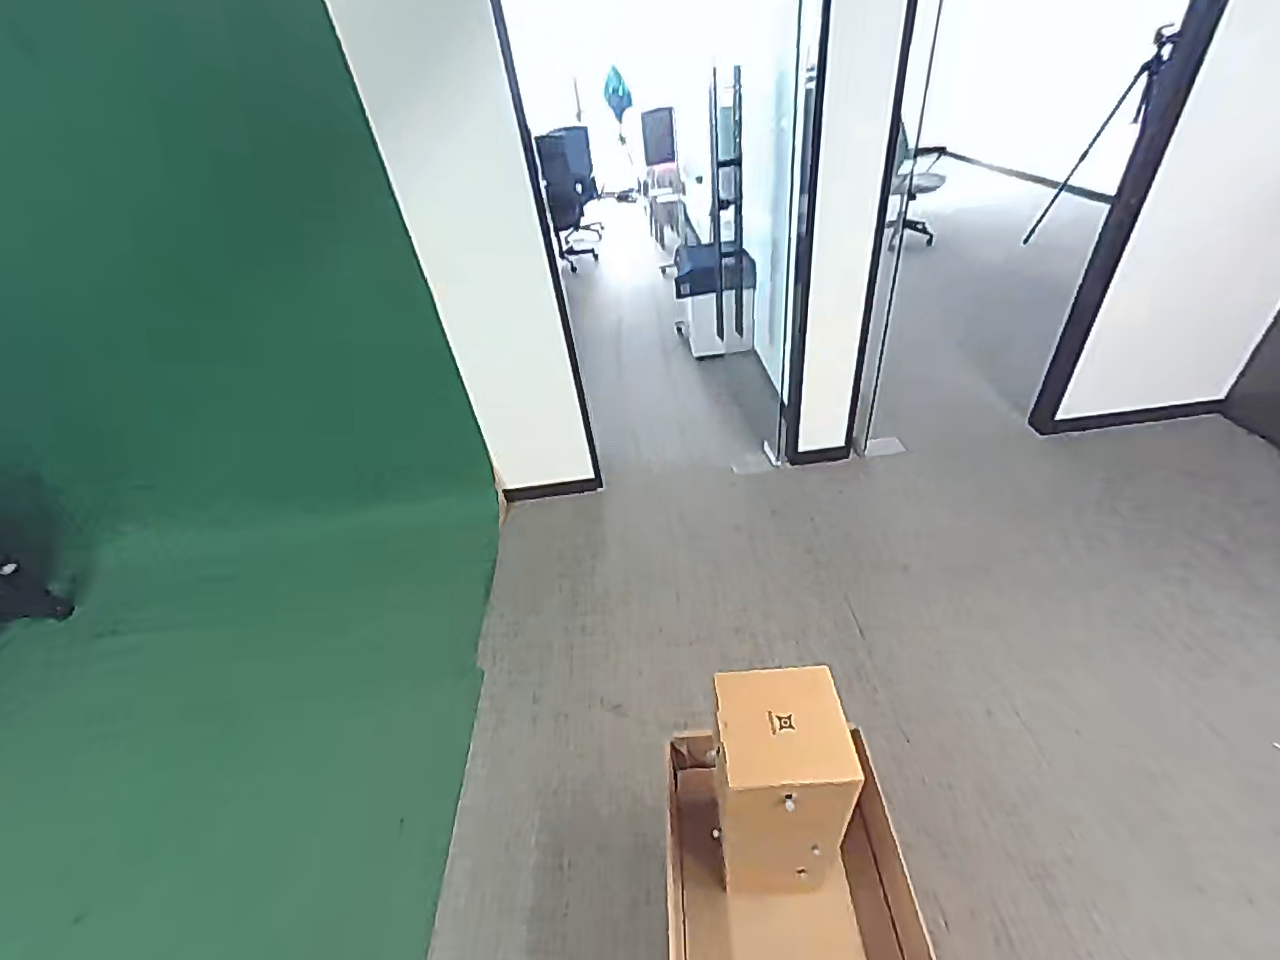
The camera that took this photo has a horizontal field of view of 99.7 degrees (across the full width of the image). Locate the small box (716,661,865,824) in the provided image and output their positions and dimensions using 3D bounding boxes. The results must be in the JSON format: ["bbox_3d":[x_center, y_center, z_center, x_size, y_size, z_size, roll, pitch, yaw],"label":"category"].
[{"bbox_3d":[0.208,0.390,0.802,0.179,0.176,0.168,-5,39,3],"label":"small box"}]
